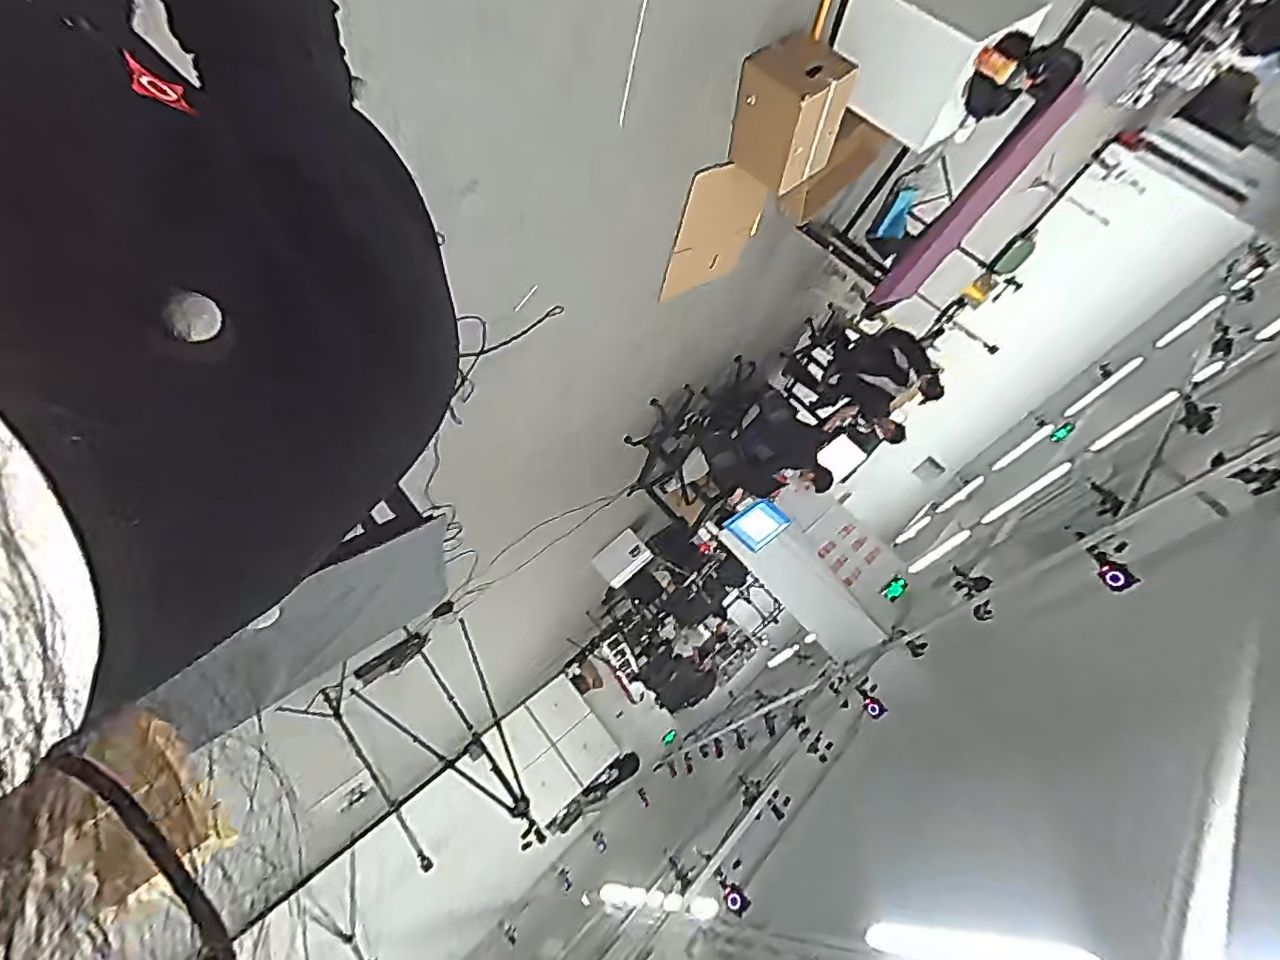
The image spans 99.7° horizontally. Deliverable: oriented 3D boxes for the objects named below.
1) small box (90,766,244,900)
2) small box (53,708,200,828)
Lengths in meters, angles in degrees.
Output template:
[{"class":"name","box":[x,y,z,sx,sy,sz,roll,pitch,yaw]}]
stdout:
[{"class":"small box","box":[-1.019,0.754,1.173,0.179,0.176,0.168,-33,162,-30]},{"class":"small box","box":[-1.129,0.638,1.203,0.168,0.176,0.179,-33,161,-32]}]
